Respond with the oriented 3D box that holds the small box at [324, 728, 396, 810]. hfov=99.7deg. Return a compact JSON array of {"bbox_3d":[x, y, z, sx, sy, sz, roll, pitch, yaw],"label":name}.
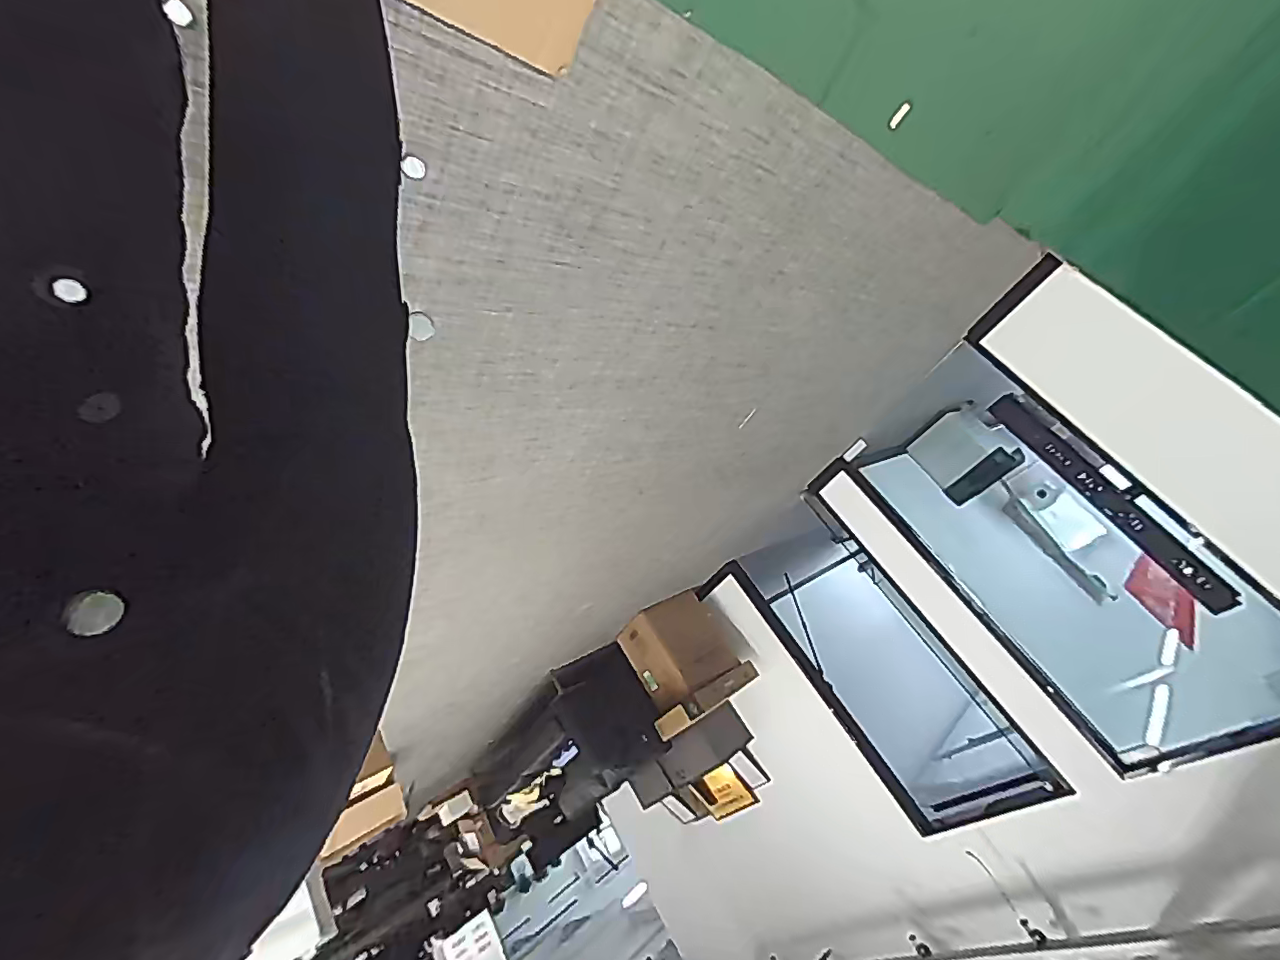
[{"bbox_3d":[-0.966,0.985,1.853,0.168,0.176,0.179,-11,147,-45],"label":"small box"}]
